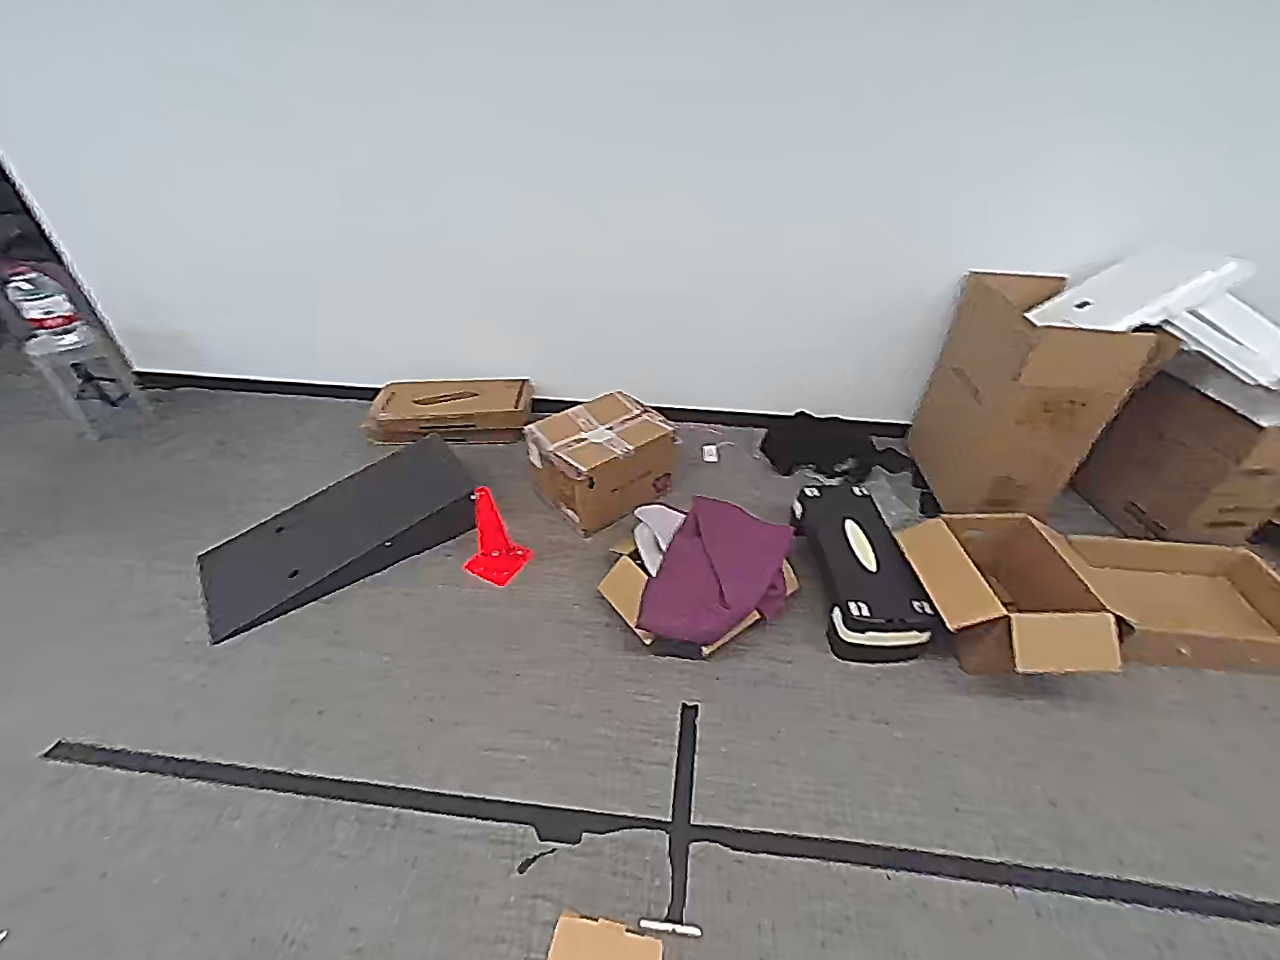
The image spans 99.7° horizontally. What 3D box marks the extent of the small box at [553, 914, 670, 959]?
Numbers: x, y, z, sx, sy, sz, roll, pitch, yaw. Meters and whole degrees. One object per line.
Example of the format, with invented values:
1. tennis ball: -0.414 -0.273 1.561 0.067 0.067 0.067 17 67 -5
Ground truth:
1. small box: -0.055 0.788 0.795 0.168 0.176 0.179 8 40 11
